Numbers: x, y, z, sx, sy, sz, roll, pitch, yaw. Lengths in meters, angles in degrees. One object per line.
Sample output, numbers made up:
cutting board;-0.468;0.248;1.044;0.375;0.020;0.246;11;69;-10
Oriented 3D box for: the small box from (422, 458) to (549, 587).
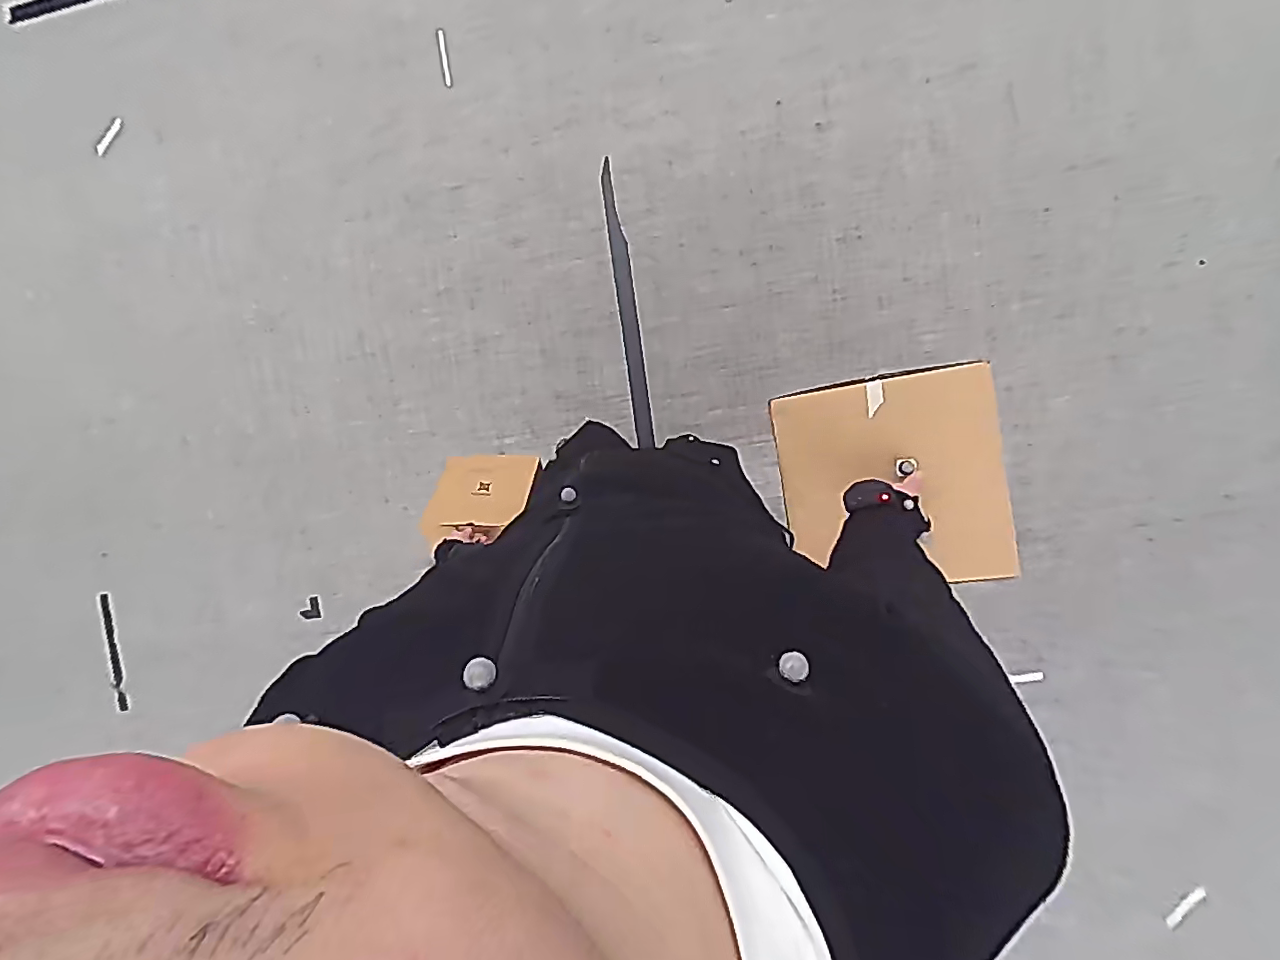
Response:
small box;-0.268;0.079;0.991;0.168;0.179;0.176;2;133;3
